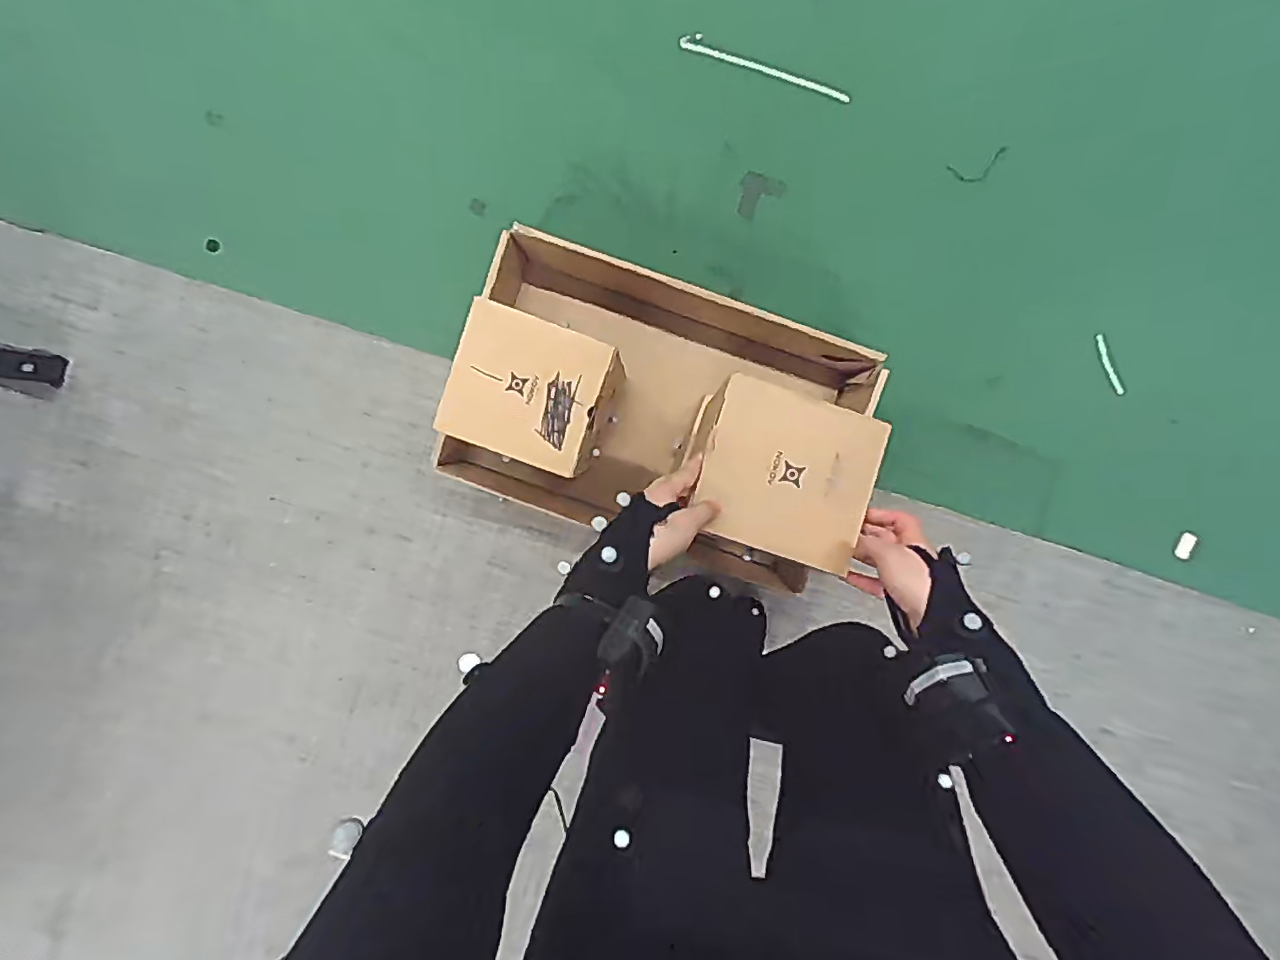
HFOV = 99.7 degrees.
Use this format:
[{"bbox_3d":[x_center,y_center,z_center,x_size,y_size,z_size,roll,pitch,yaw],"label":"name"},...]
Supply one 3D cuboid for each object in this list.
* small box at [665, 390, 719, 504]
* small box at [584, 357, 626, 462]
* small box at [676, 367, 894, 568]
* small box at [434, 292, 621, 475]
[{"bbox_3d":[0.147,-0.031,0.873,0.168,0.176,0.179,21,96,-1],"label":"small box"},{"bbox_3d":[-0.130,-0.134,0.863,0.179,0.176,0.168,19,95,-2],"label":"small box"},{"bbox_3d":[0.150,-0.008,0.624,0.179,0.176,0.168,18,86,-2],"label":"small box"},{"bbox_3d":[-0.130,-0.118,0.700,0.179,0.176,0.168,20,94,-1],"label":"small box"}]
